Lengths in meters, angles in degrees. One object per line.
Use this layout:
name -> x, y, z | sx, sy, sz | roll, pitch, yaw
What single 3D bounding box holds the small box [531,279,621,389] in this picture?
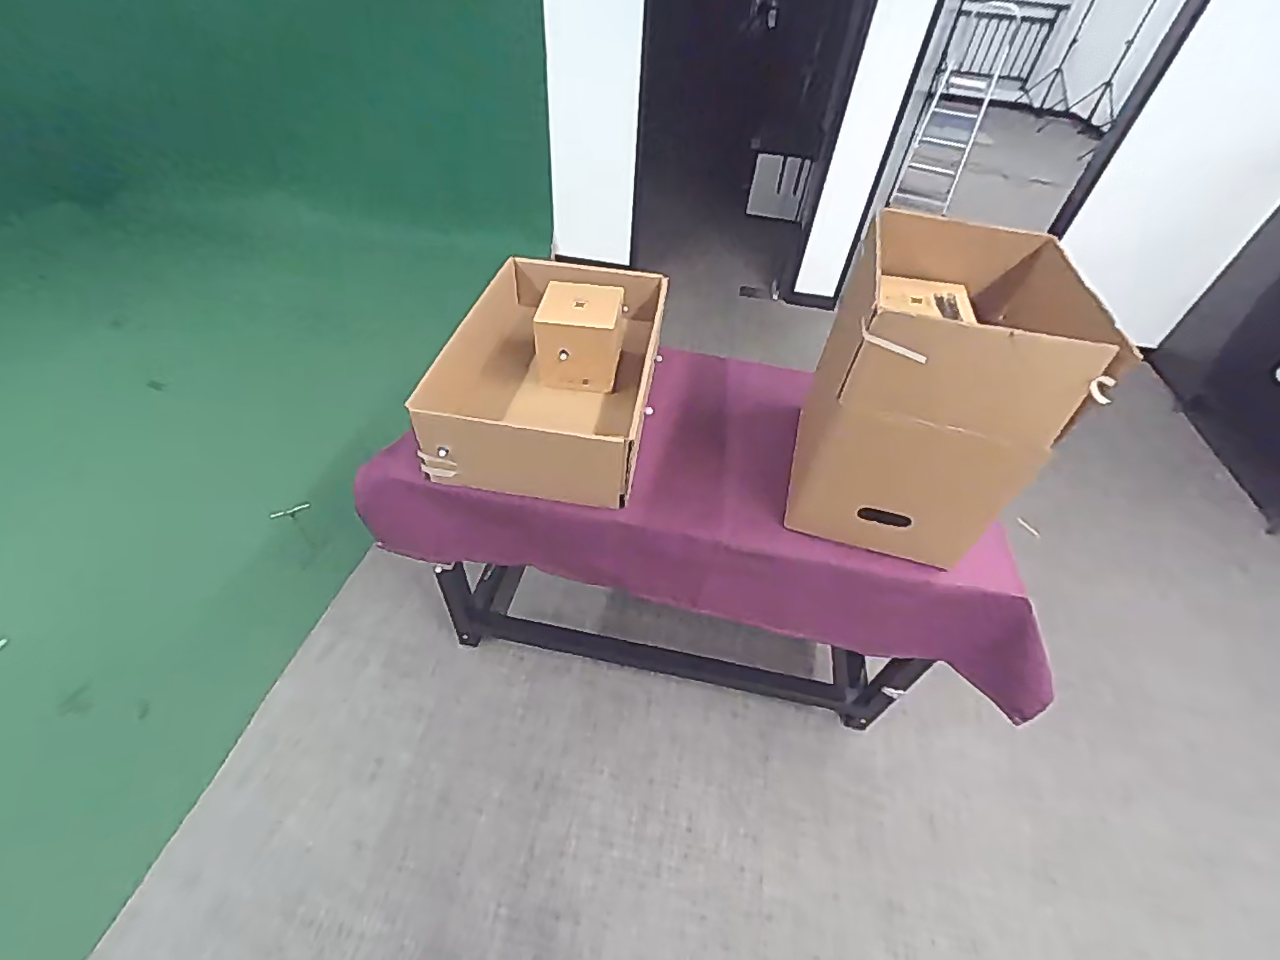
small box -> -0.133, -0.320, 1.197 | 0.168, 0.176, 0.179 | 6, 47, 2
